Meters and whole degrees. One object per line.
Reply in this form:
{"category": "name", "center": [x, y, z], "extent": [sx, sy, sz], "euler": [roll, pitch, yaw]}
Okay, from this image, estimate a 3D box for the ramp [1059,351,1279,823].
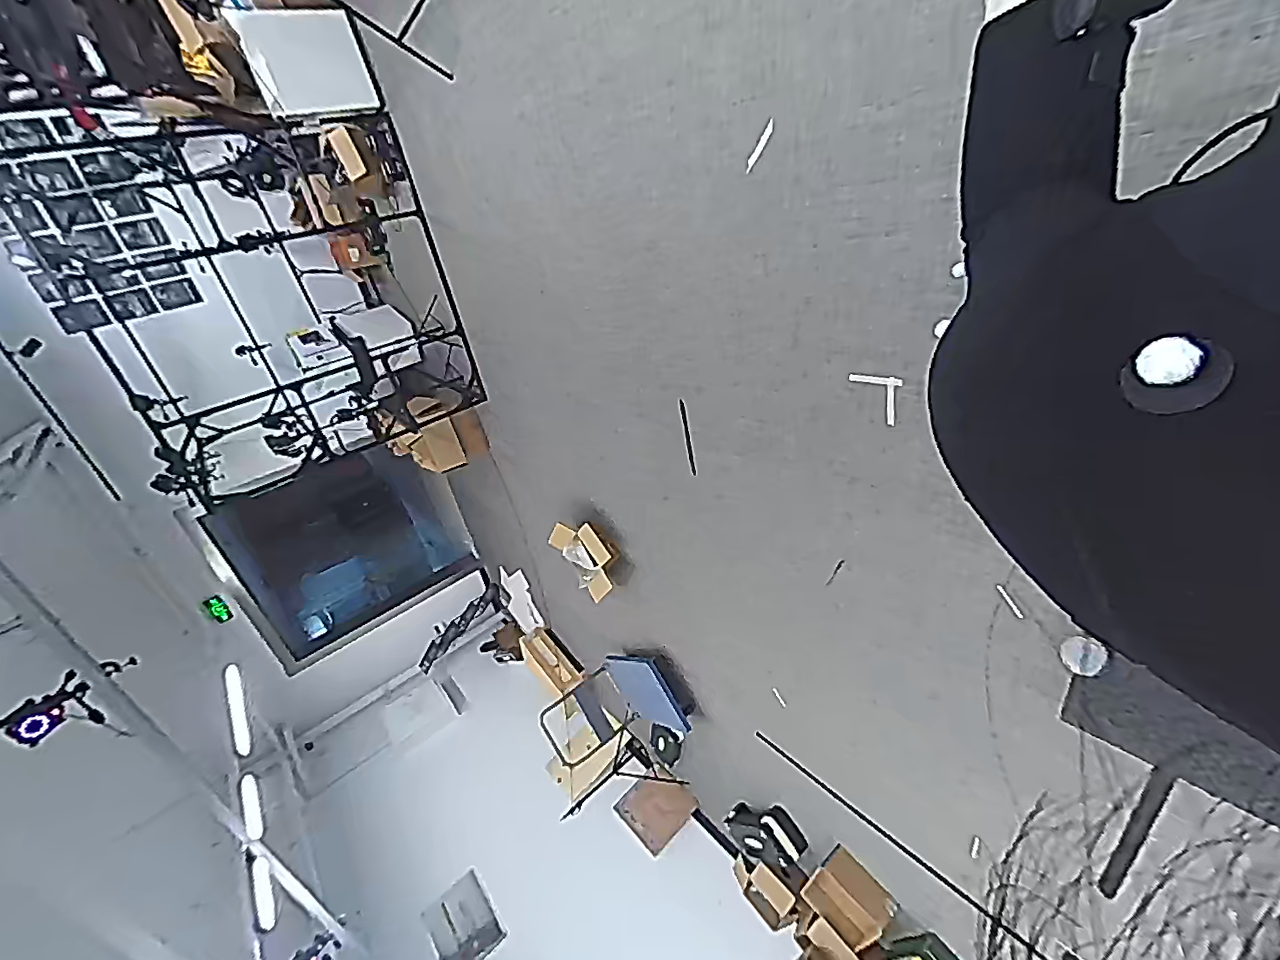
{"category": "ramp", "center": [1.295, 0.253, 1.139], "extent": [0.509, 0.206, 0.991], "euler": [23, 134, 49]}
